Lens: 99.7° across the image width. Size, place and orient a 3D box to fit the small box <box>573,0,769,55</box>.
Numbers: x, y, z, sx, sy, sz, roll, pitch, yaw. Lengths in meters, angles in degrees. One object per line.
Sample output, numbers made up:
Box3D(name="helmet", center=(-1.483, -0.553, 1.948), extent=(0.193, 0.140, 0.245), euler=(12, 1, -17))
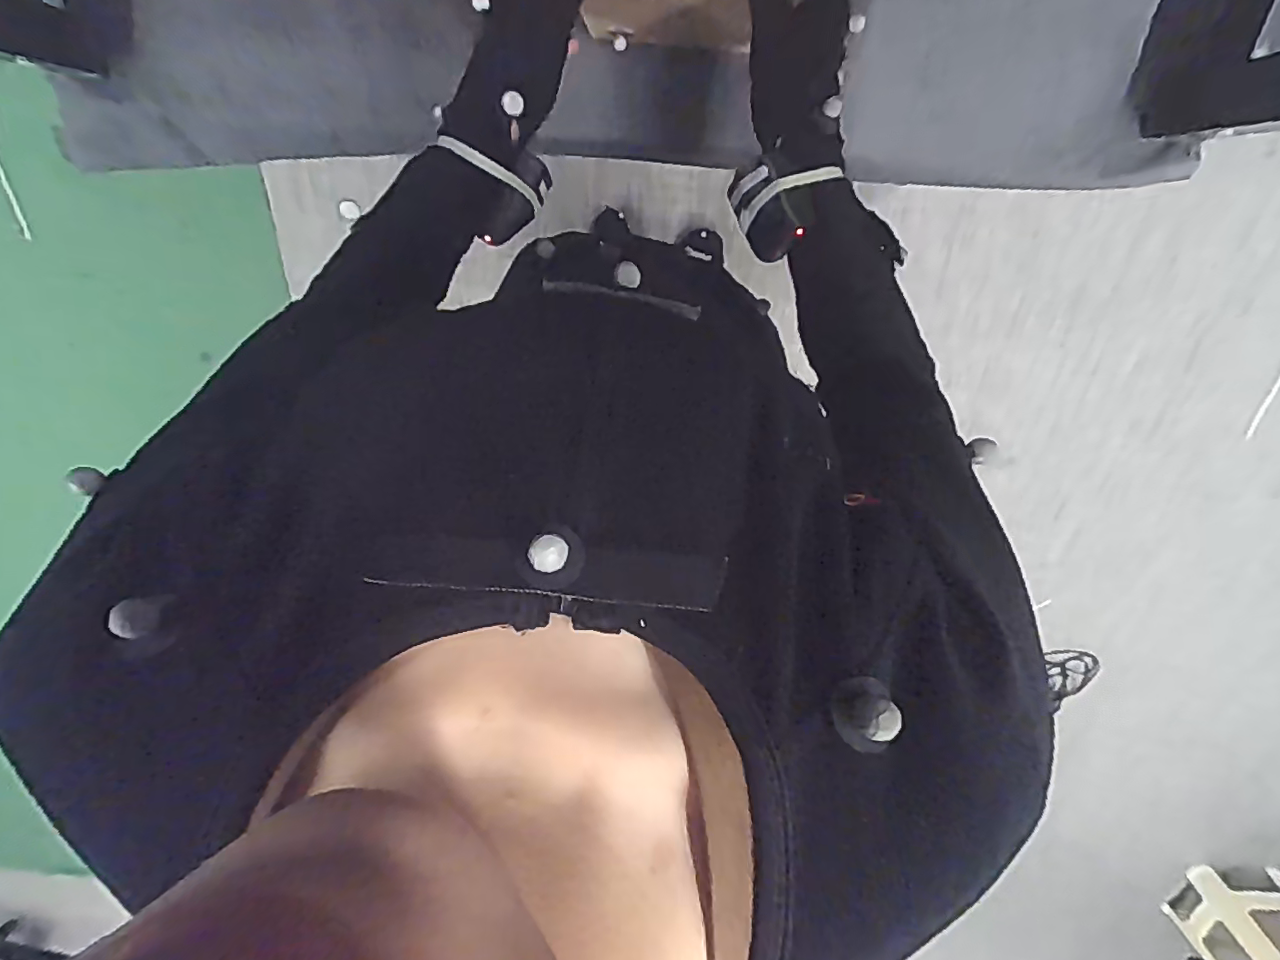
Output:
Box3D(name="small box", center=(0.032, -0.470, 0.431), extent=(0.168, 0.176, 0.179), euler=(6, 114, 1))
